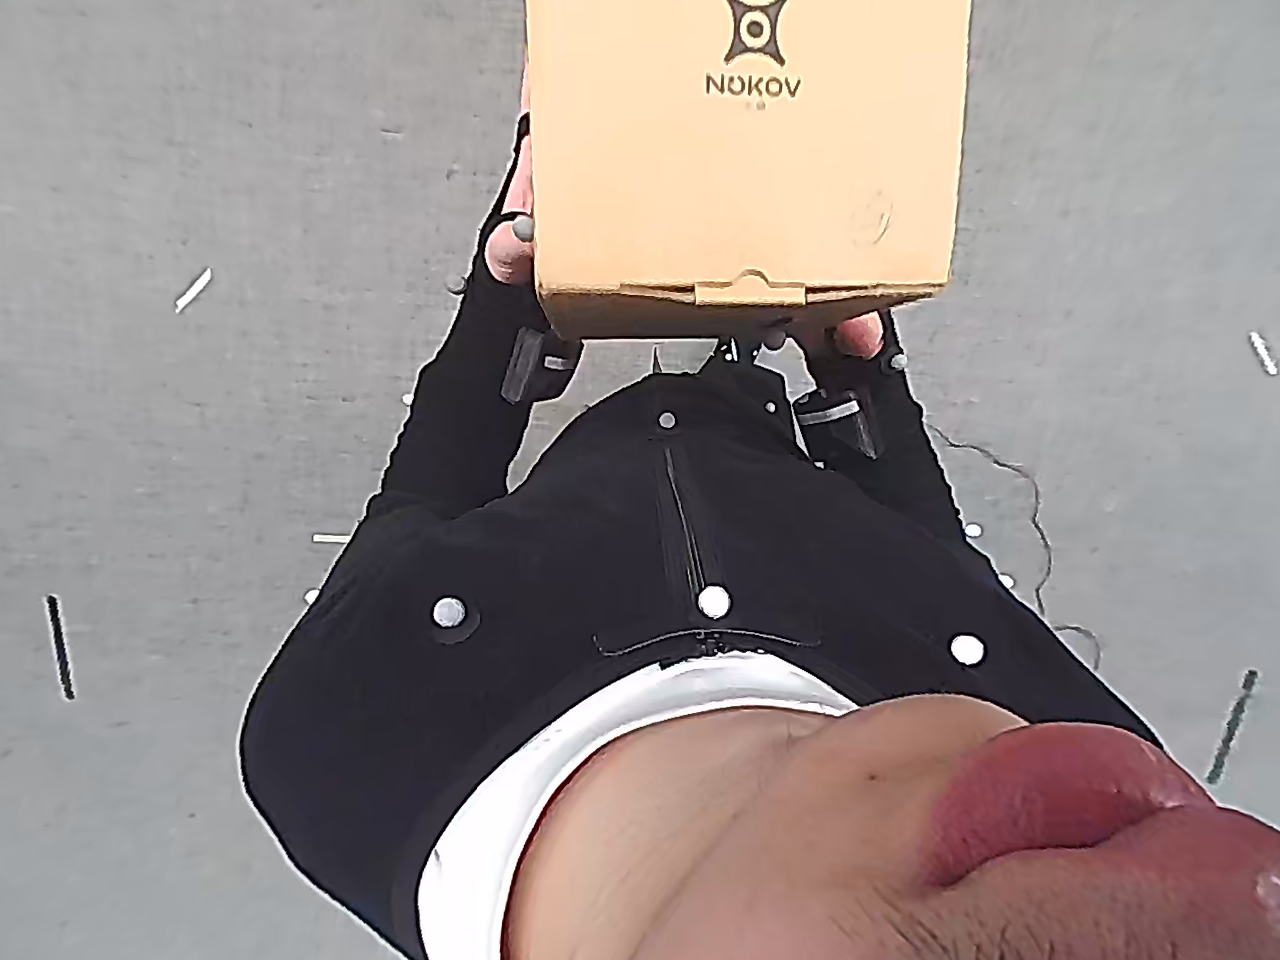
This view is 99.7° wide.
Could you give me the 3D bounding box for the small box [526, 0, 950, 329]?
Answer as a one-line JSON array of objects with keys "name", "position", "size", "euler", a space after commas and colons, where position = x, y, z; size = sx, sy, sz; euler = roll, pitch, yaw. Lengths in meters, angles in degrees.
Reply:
[{"name": "small box", "position": [0.032, -0.176, 0.287], "size": [0.168, 0.176, 0.179], "euler": [-2, 99, -6]}]
